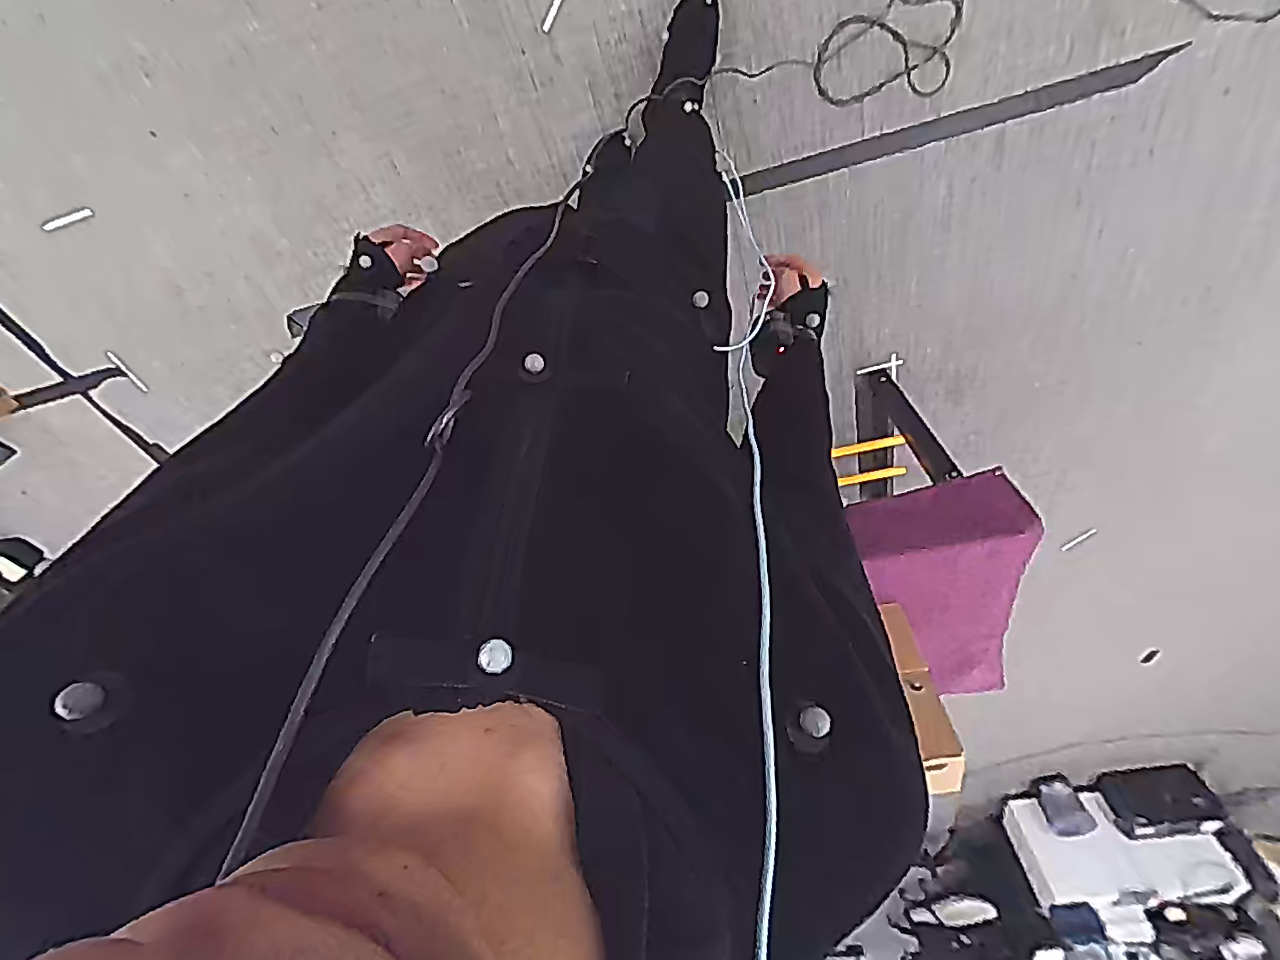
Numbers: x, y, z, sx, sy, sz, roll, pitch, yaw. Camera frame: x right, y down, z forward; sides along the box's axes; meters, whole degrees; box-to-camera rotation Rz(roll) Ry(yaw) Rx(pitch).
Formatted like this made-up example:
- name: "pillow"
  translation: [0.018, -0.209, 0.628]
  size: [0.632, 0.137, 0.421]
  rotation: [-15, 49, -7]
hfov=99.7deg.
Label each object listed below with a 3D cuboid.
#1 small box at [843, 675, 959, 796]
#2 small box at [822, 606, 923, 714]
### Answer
- name: "small box"
  translation: [0.522, 0.513, 1.102]
  size: [0.168, 0.176, 0.179]
  rotation: [-13, 129, 11]
- name: "small box"
  translation: [0.514, 0.401, 1.222]
  size: [0.168, 0.176, 0.179]
  rotation: [-10, 129, 8]
